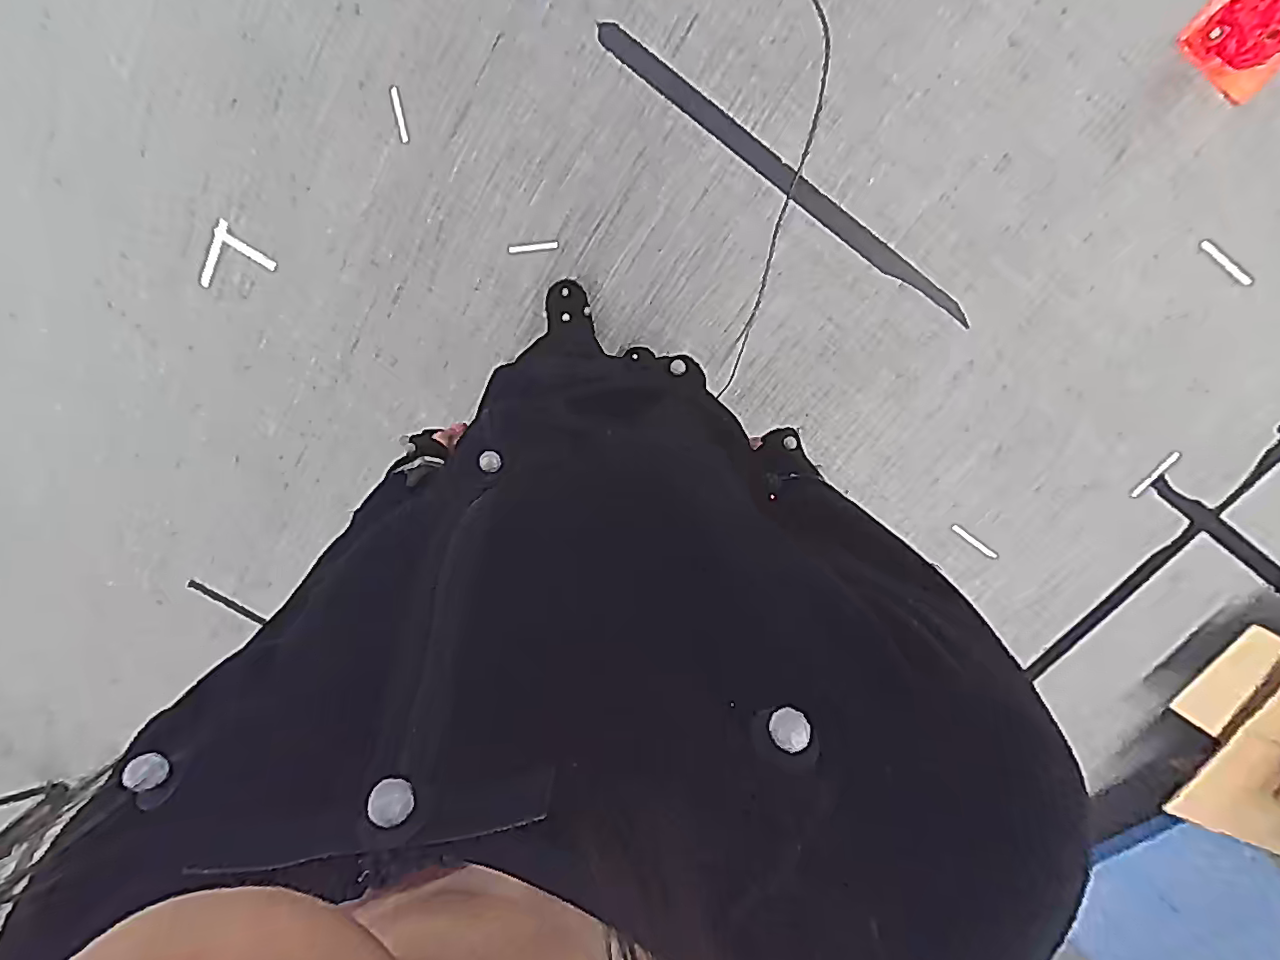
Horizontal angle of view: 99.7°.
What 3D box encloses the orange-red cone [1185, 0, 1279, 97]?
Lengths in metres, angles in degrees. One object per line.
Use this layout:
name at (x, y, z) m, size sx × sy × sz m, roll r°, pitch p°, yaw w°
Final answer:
orange-red cone at (1.190, -0.838, 0.890) m, size 0.199 × 0.360 × 0.198 m, roll 37°, pitch 107°, yaw -9°
